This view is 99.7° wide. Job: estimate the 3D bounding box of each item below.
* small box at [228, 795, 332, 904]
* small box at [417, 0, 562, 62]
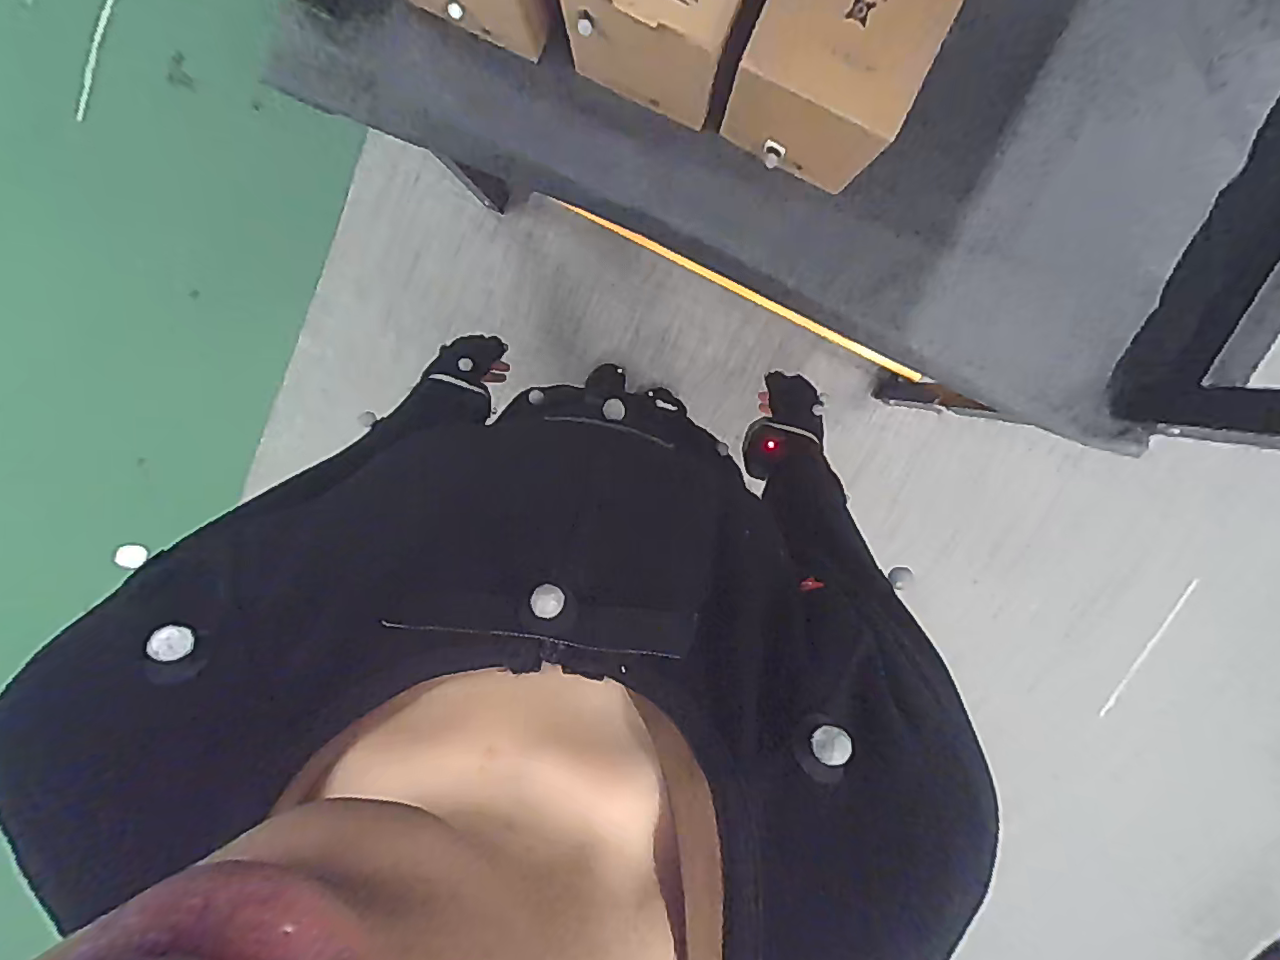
[{"bbox_3d":[-1.074,1.104,1.628,0.168,0.176,0.179,32,99,-5],"label":"small box"},{"bbox_3d":[-0.160,-0.588,0.547,0.168,0.176,0.179,23,100,-4],"label":"small box"}]
